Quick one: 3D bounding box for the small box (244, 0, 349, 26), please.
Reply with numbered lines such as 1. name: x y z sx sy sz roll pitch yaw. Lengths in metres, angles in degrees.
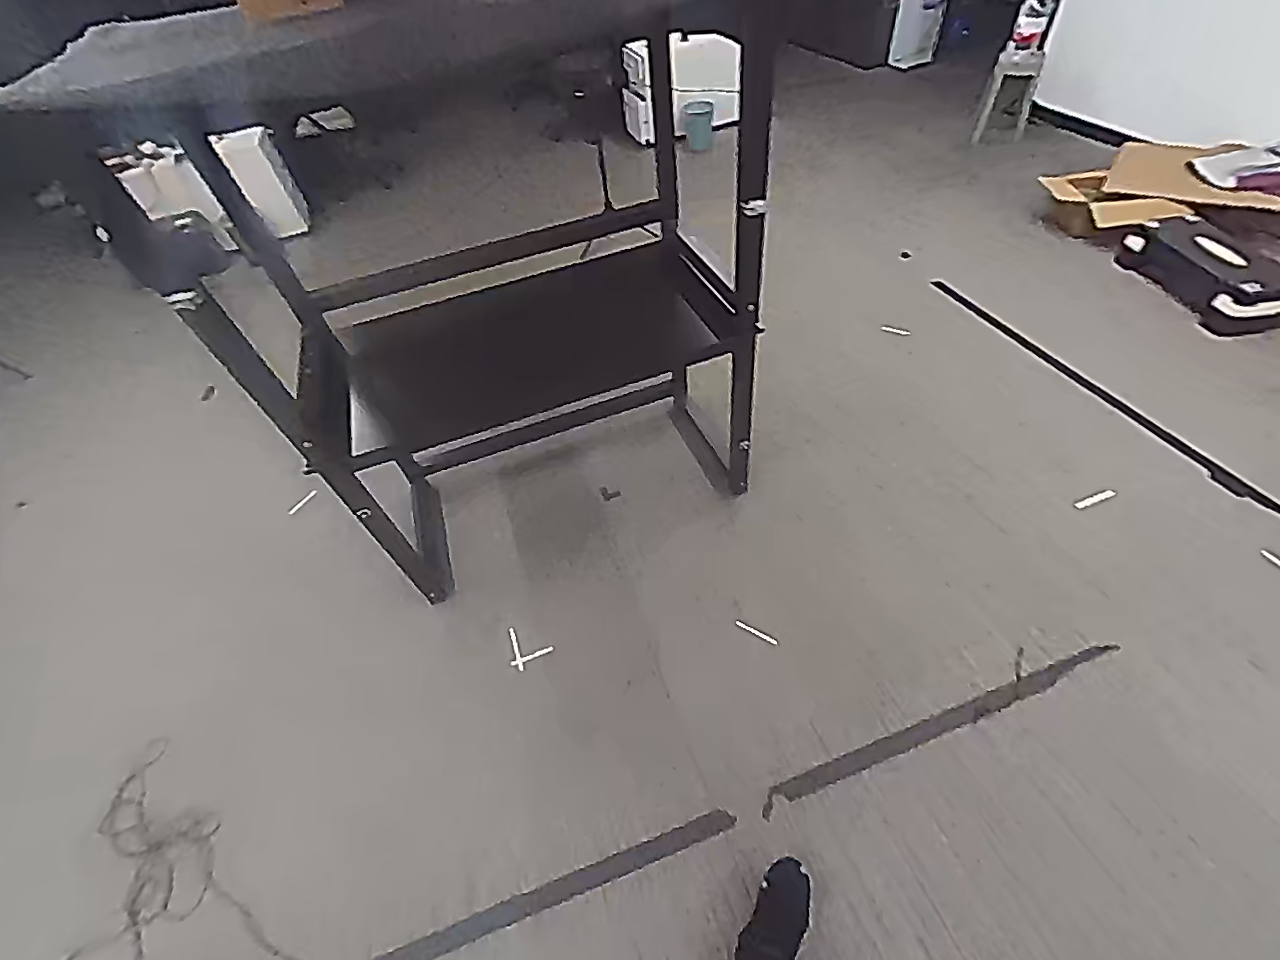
1. small box: -0.641 -0.932 0.956 0.168 0.176 0.179 -22 51 -10
